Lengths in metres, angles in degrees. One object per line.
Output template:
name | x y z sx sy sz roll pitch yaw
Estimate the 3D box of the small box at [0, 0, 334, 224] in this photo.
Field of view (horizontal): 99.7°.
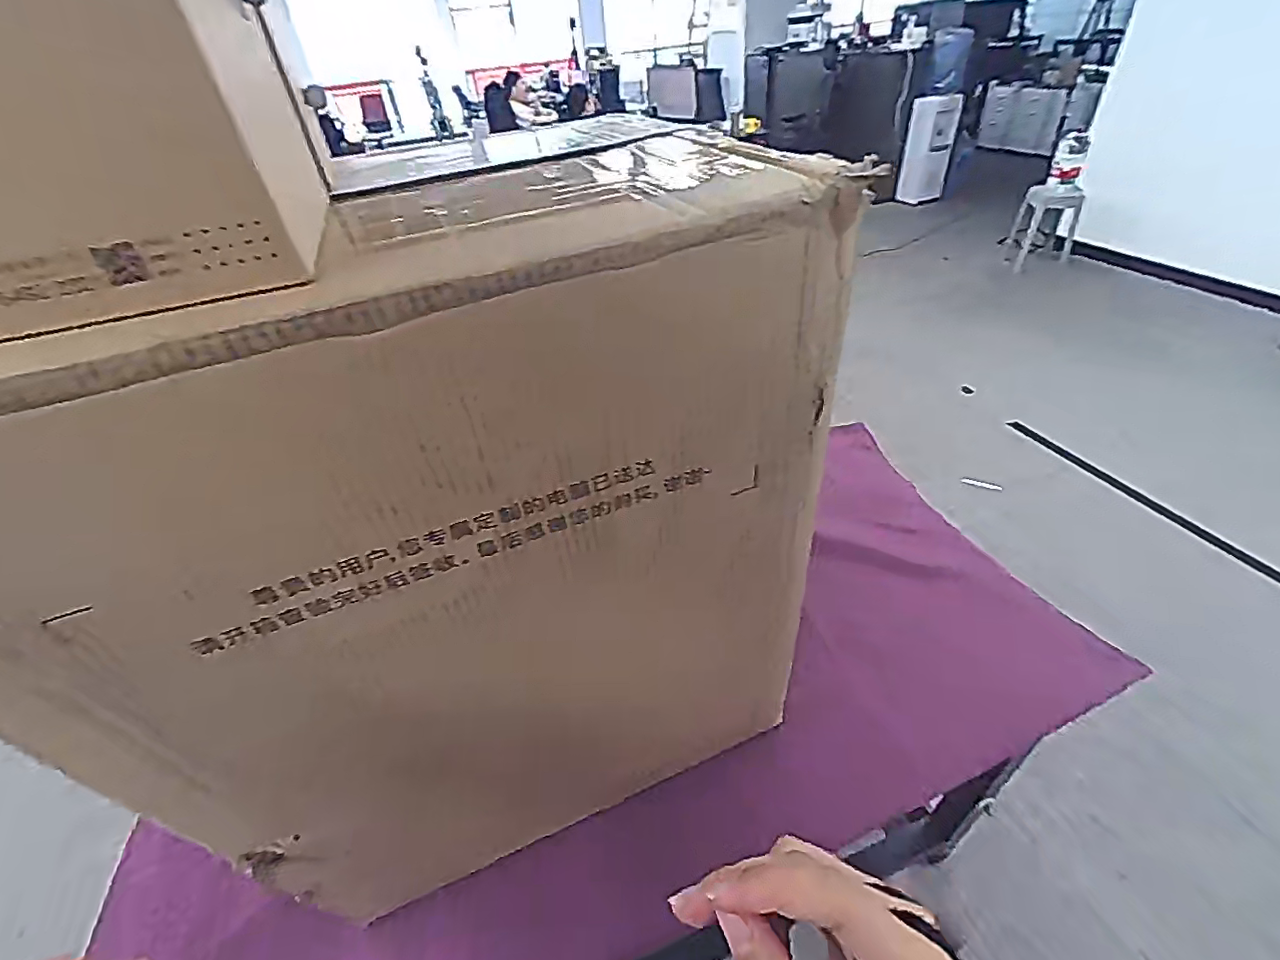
small box | -0.330 -0.281 0.354 0.179 0.176 0.168 -19 42 -17
